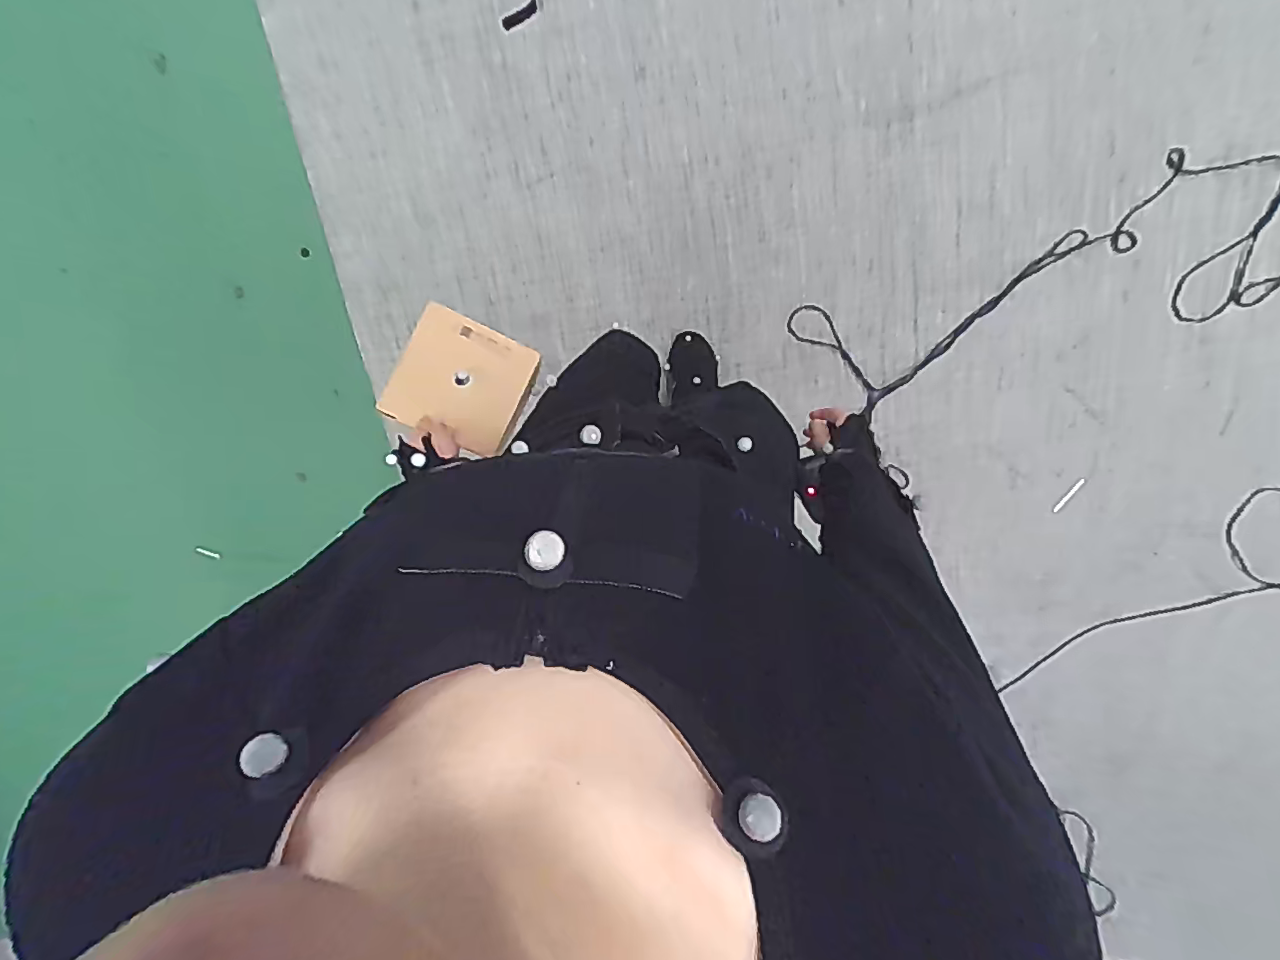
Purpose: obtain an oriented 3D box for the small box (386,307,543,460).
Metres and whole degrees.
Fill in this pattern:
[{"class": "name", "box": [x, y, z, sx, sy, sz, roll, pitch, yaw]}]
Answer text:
[{"class": "small box", "box": [-0.254, -0.139, 0.818, 0.168, 0.179, 0.176, 22, 87, -11]}]
